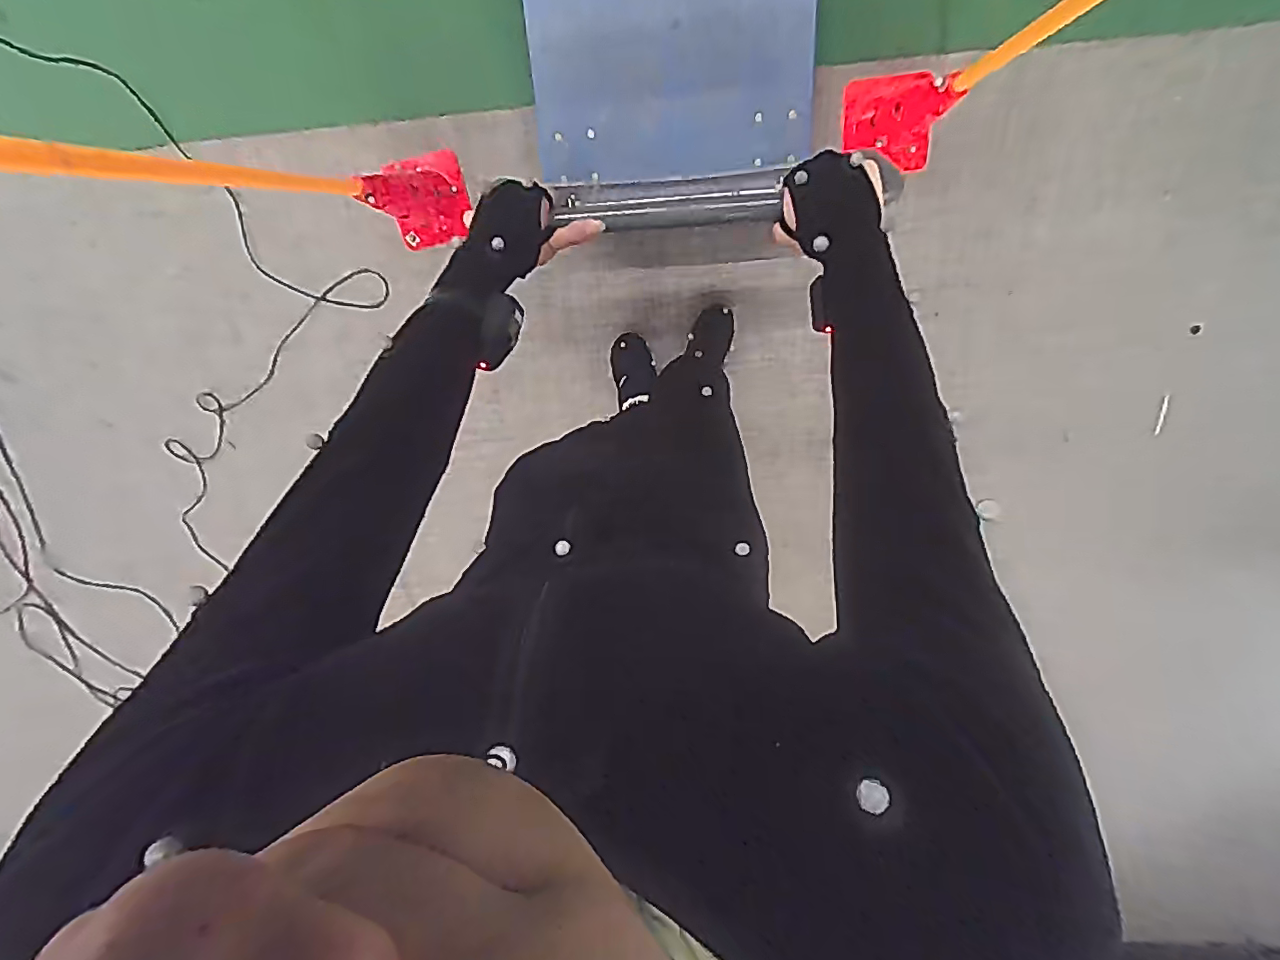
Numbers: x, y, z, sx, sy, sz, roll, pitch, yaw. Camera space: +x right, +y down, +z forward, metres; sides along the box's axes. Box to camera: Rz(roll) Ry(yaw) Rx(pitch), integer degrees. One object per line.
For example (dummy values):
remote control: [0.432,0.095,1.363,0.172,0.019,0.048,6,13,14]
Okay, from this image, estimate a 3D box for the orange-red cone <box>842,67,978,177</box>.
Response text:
orange-red cone: [0.560,-0.747,1.078,0.198,0.360,0.199,-3,111,4]
